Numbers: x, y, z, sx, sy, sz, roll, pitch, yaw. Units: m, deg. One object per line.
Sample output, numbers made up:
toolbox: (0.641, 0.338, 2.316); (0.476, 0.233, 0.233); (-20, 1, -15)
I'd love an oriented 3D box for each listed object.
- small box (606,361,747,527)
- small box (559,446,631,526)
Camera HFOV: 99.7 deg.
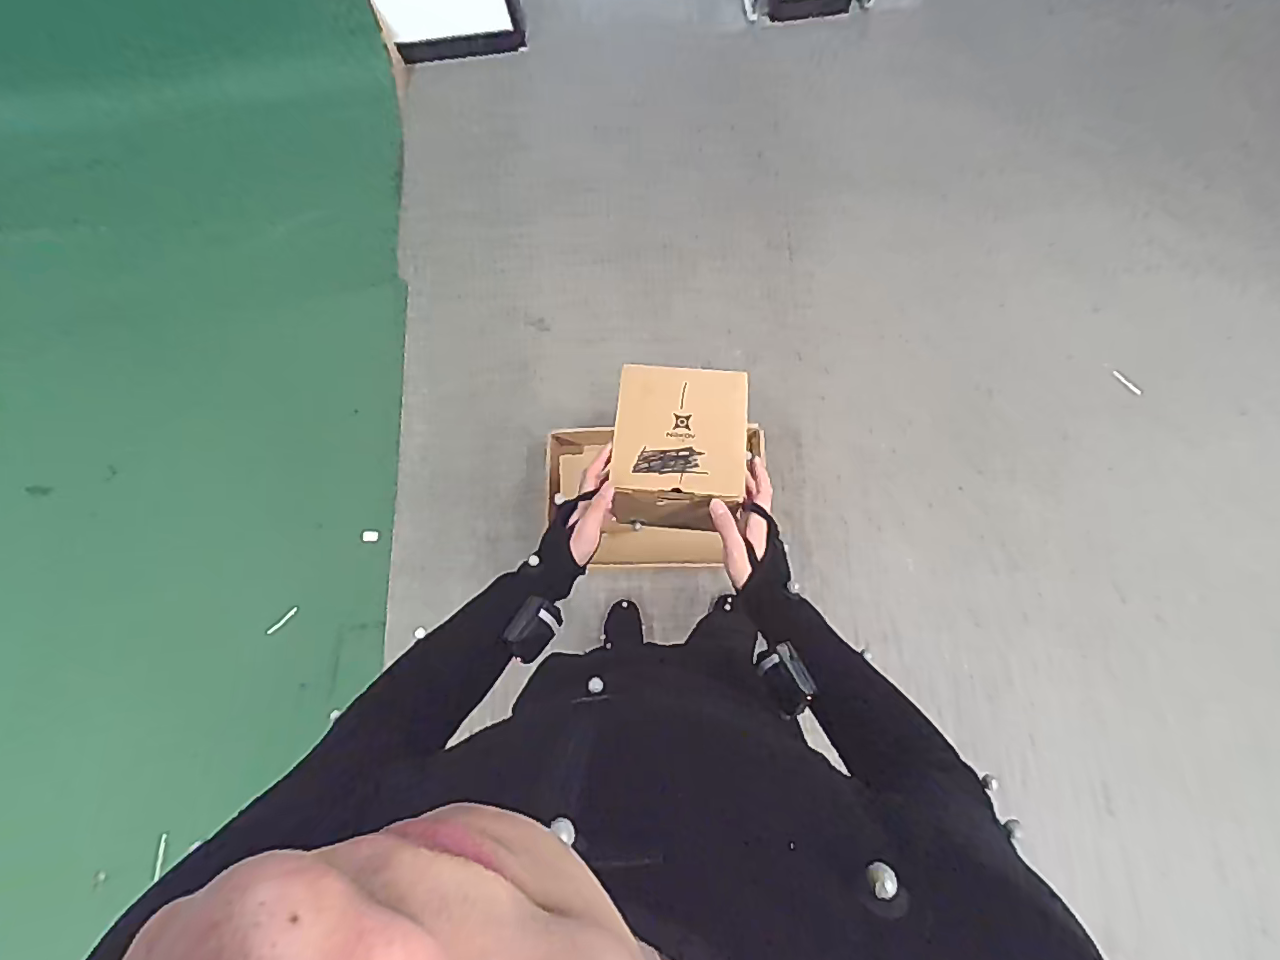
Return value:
small box: (0.050, -0.041, 0.743); (0.168, 0.176, 0.179); (5, 71, 2)
small box: (-0.113, 0.020, 1.397); (0.168, 0.176, 0.179); (-4, 79, 4)
